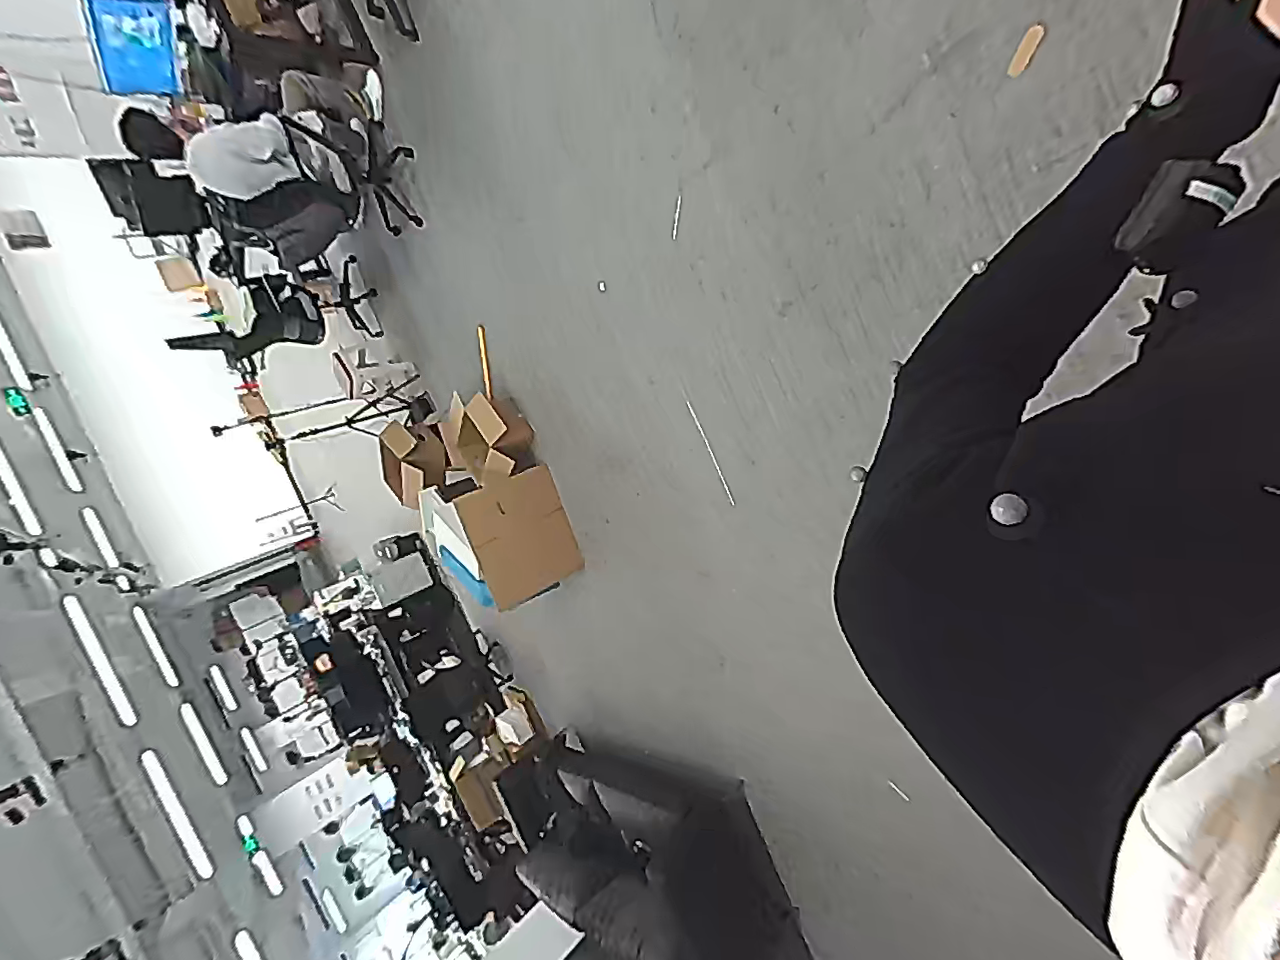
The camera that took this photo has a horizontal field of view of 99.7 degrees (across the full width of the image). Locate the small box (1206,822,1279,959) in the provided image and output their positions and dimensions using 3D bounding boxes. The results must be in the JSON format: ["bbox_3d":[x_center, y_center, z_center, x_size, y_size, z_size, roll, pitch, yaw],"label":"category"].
[{"bbox_3d":[1.240,0.826,1.063,0.168,0.176,0.179,-3,106,50],"label":"small box"}]
